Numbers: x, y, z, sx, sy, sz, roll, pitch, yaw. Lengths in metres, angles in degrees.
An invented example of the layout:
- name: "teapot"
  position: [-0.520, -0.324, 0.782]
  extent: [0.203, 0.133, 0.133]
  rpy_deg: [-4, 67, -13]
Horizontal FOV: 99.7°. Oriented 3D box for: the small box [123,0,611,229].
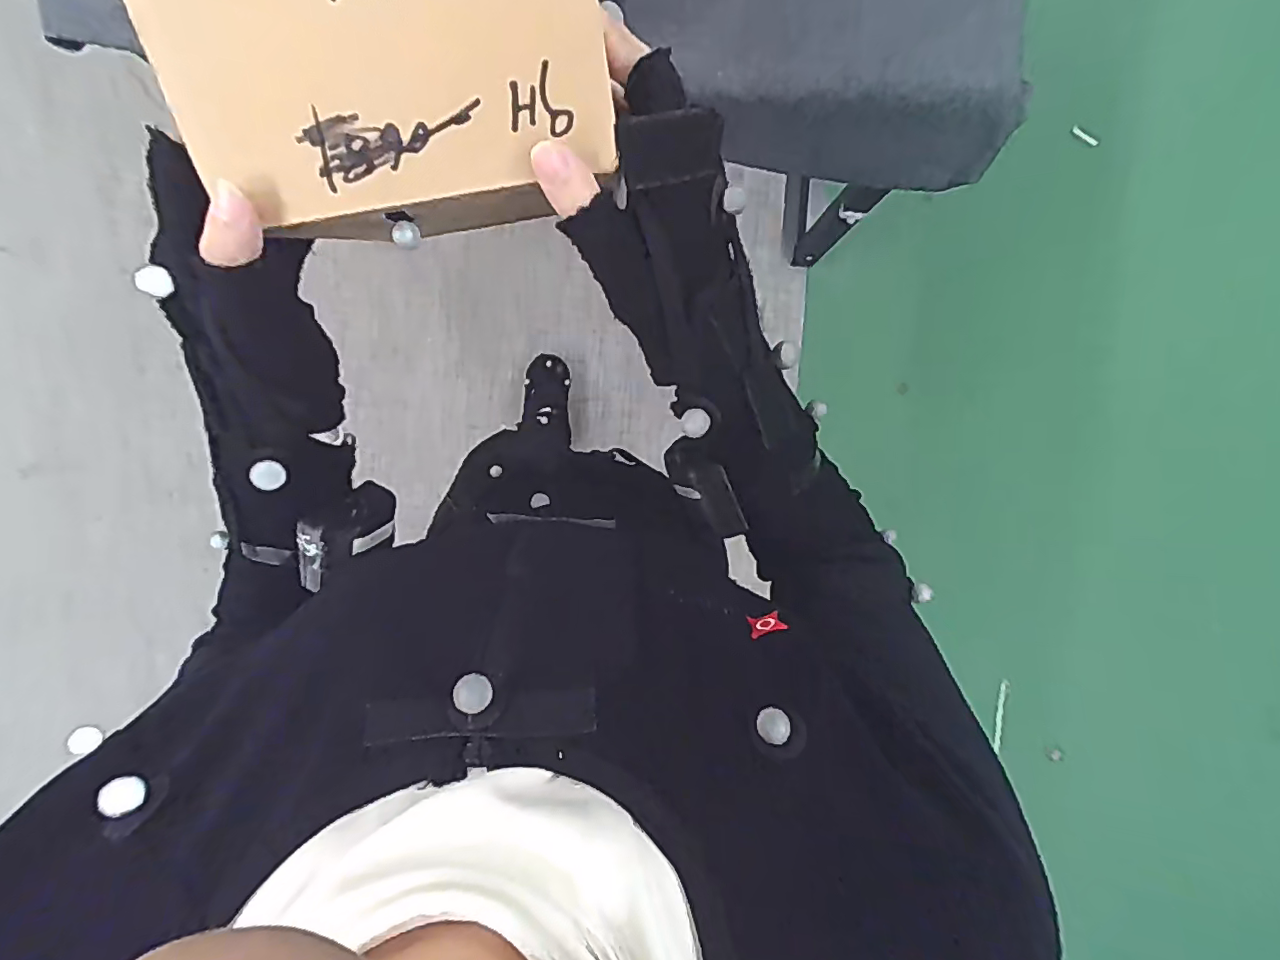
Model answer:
- name: "small box"
  position: [-0.108, -0.230, 0.257]
  extent: [0.168, 0.176, 0.179]
  rpy_deg: [-9, 112, 1]
